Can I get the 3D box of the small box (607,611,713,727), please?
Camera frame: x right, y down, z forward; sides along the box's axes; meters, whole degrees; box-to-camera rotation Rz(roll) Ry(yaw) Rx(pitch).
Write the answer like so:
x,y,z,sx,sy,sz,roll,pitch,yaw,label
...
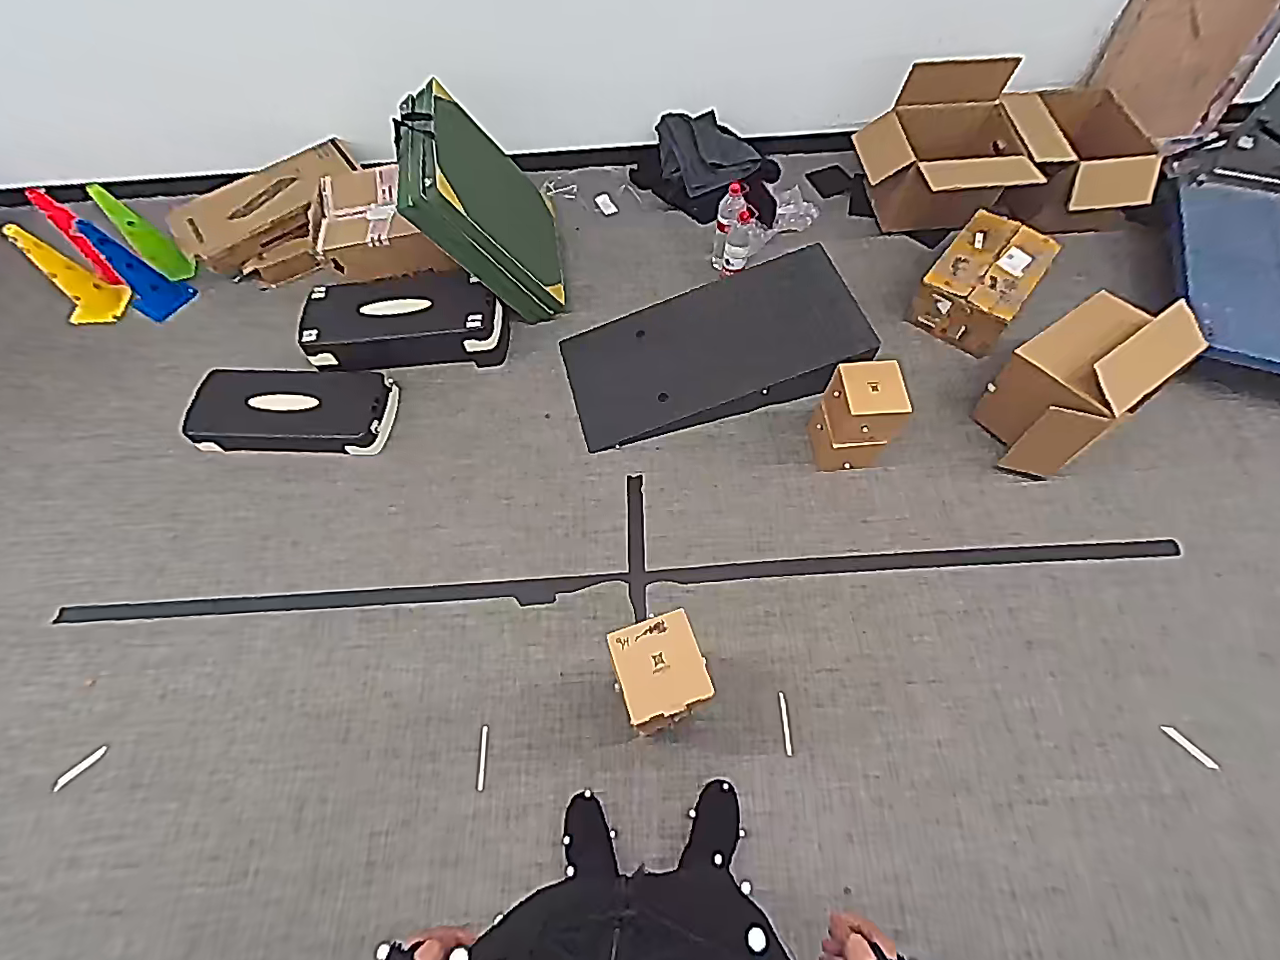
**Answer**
x,y,z,sx,sy,sz,roll,pitch,yaw,label
0.040,0.391,1.112,0.168,0.176,0.179,-17,65,-6,small box
